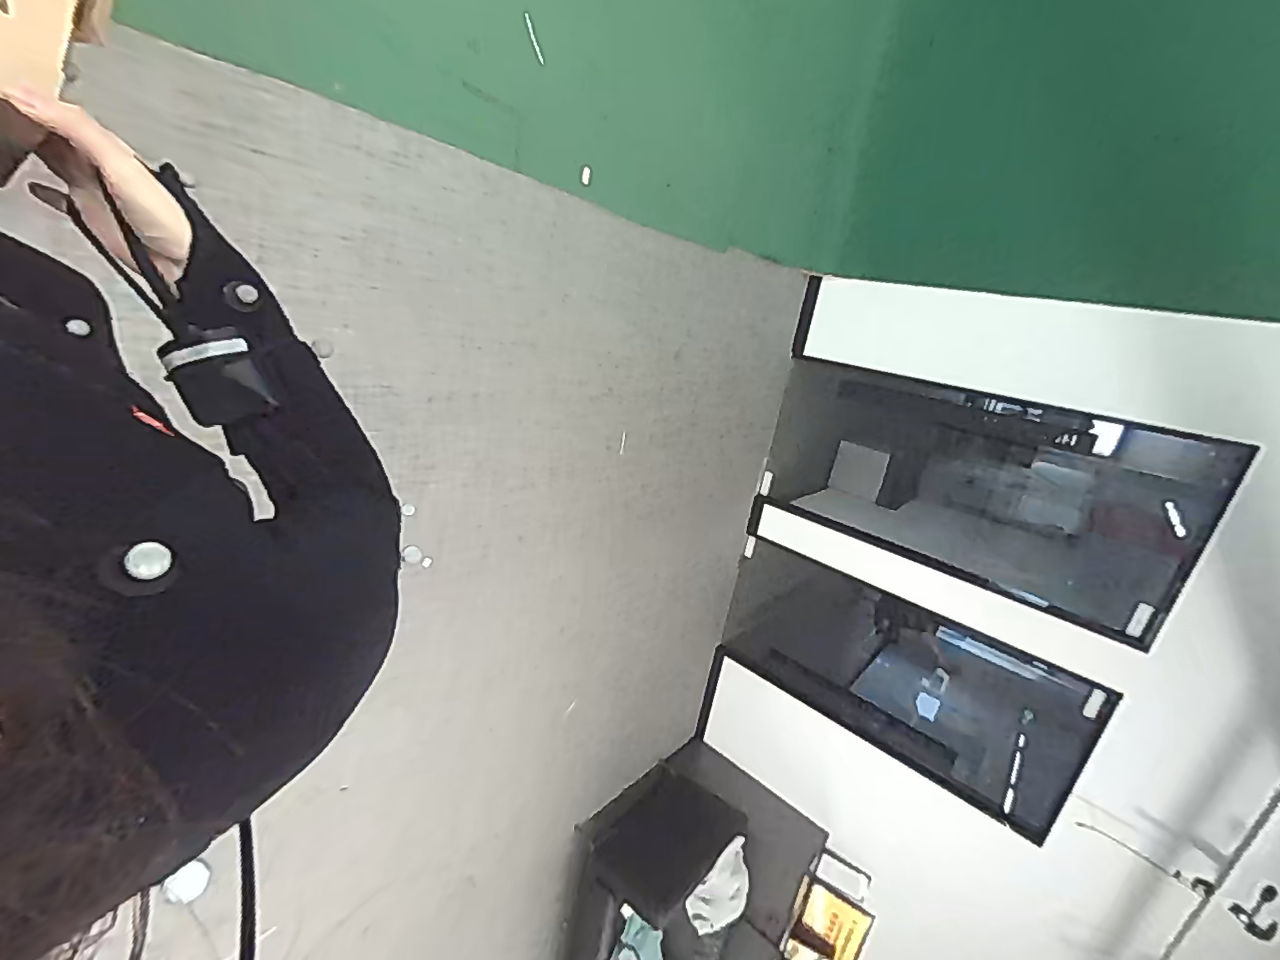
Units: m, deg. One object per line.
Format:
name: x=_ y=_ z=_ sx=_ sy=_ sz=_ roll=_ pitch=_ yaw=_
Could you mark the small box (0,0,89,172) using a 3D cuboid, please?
small box: x=-0.425 y=-0.295 z=0.280 sx=0.179 sy=0.176 sz=0.168 roll=14 pitch=83 yaw=-56
